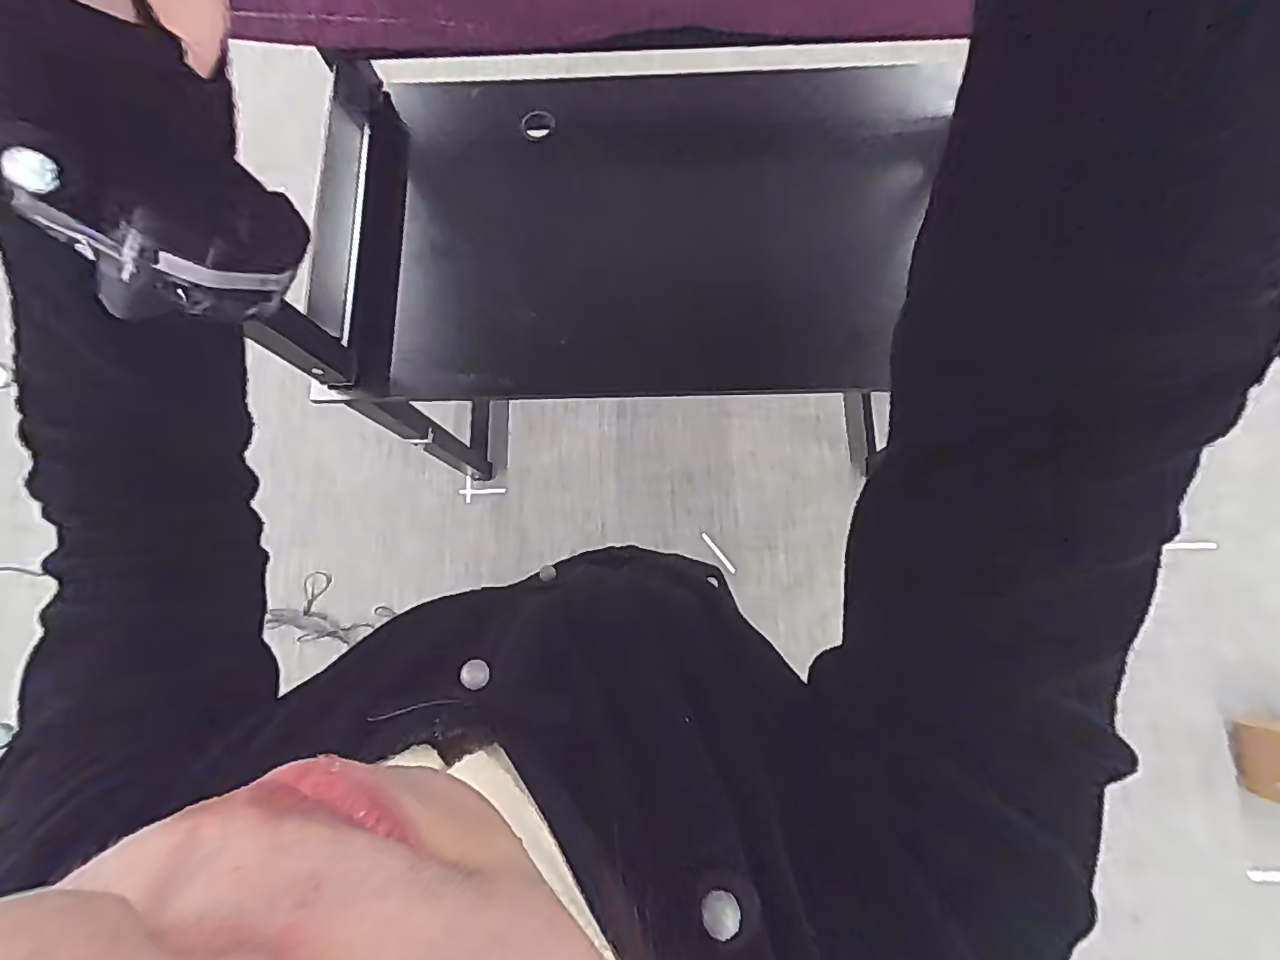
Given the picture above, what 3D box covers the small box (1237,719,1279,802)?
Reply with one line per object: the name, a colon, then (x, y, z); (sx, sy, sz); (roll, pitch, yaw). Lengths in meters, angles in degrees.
small box: (1.594, 0.679, 1.277); (0.168, 0.176, 0.179); (-2, 79, 1)
